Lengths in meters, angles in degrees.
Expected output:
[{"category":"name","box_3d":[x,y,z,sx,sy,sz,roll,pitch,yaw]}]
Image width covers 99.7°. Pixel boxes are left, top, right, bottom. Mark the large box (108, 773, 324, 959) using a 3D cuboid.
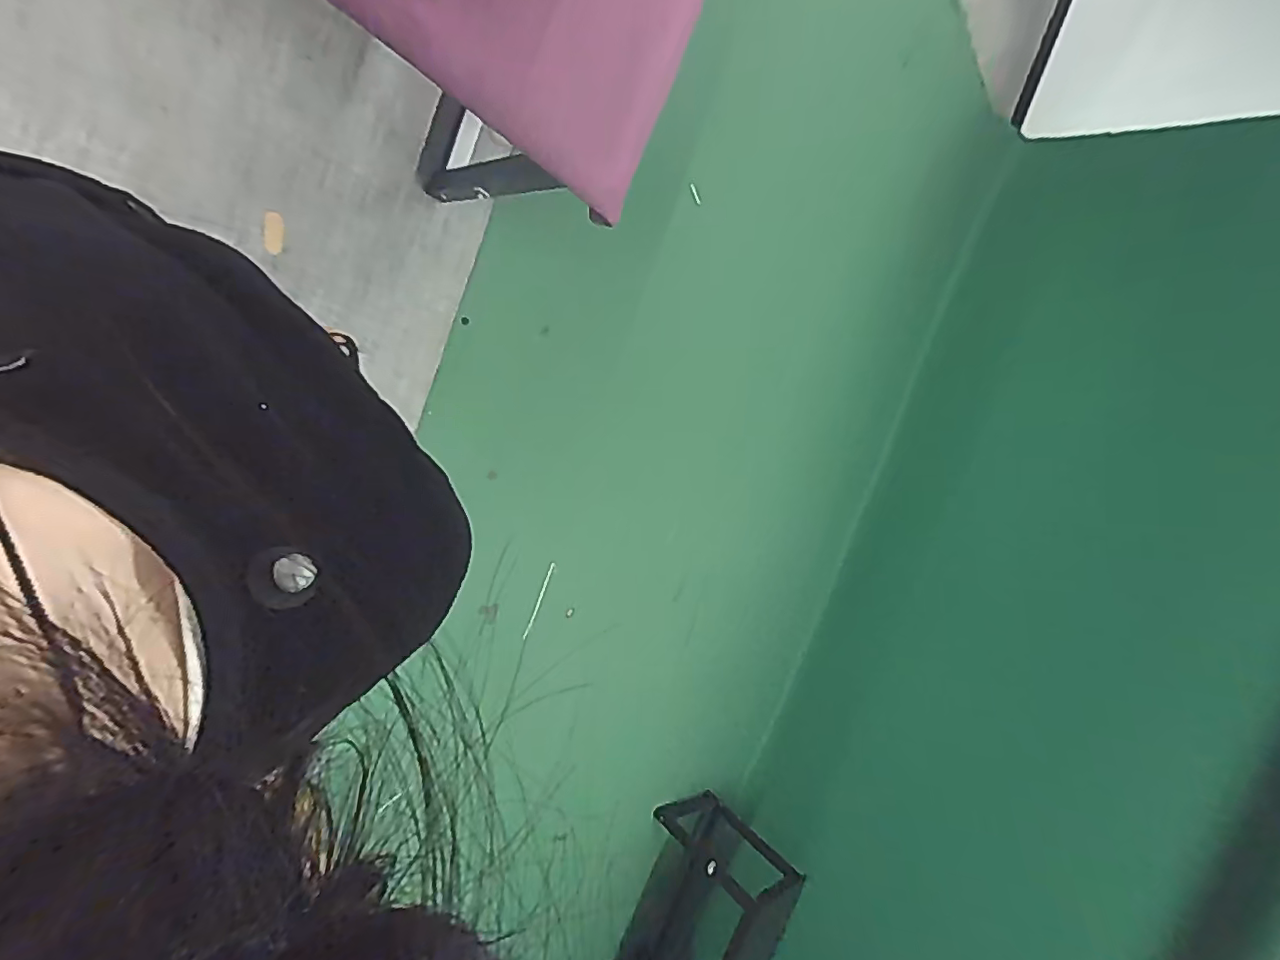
[{"category":"large box","box_3d":[-1.099,1.066,1.413,0.408,0.320,0.320,-4,111,-45]}]
